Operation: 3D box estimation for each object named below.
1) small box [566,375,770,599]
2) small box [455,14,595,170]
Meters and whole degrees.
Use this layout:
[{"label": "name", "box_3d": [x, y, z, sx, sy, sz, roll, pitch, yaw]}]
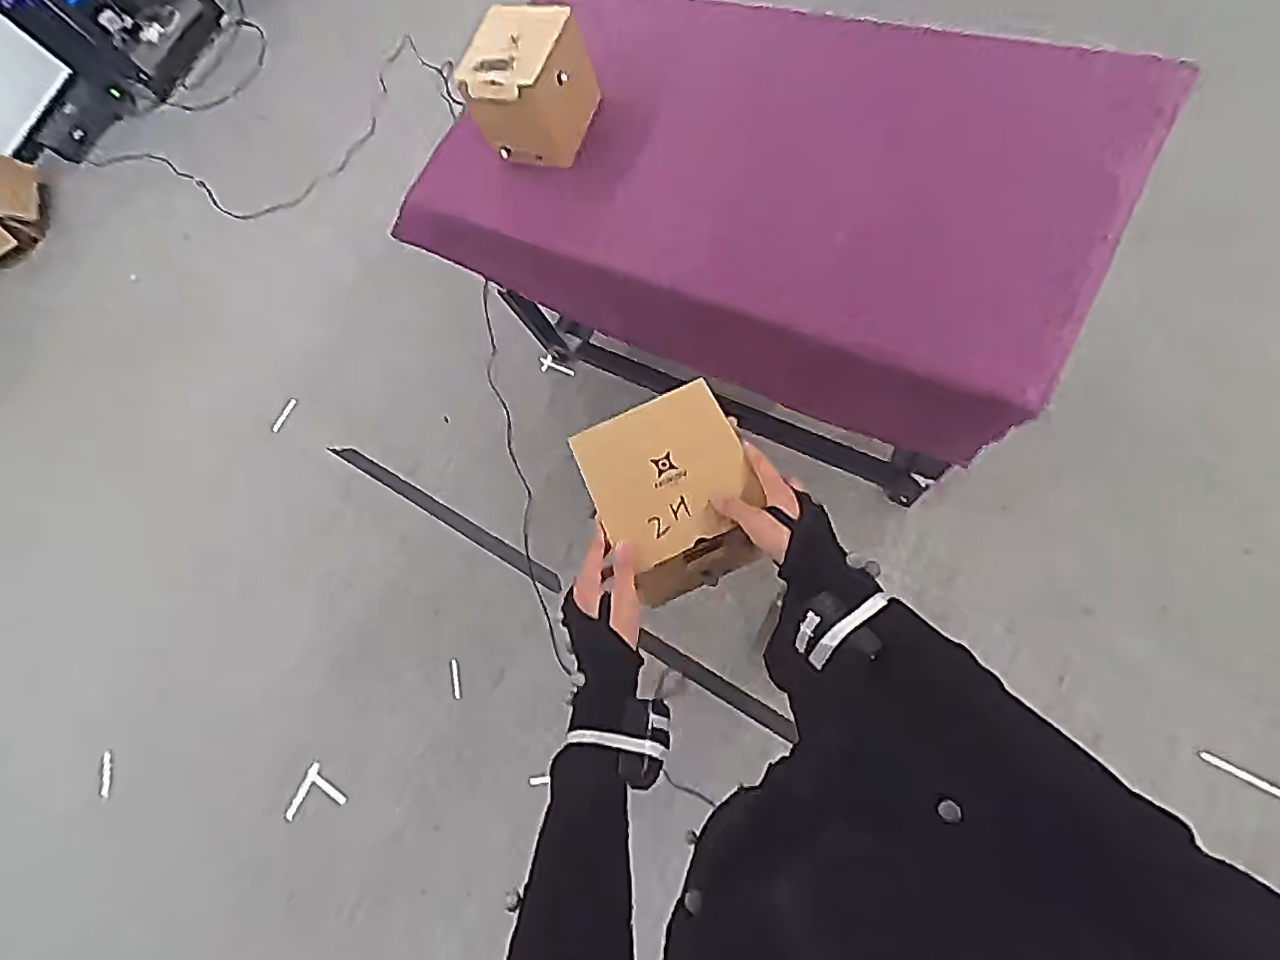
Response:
[{"label": "small box", "box_3d": [0.035, 0.017, 0.633, 0.168, 0.176, 0.179, -26, 65, 0]}, {"label": "small box", "box_3d": [-0.202, -0.712, 1.004, 0.168, 0.176, 0.179, 17, 79, 18]}]
